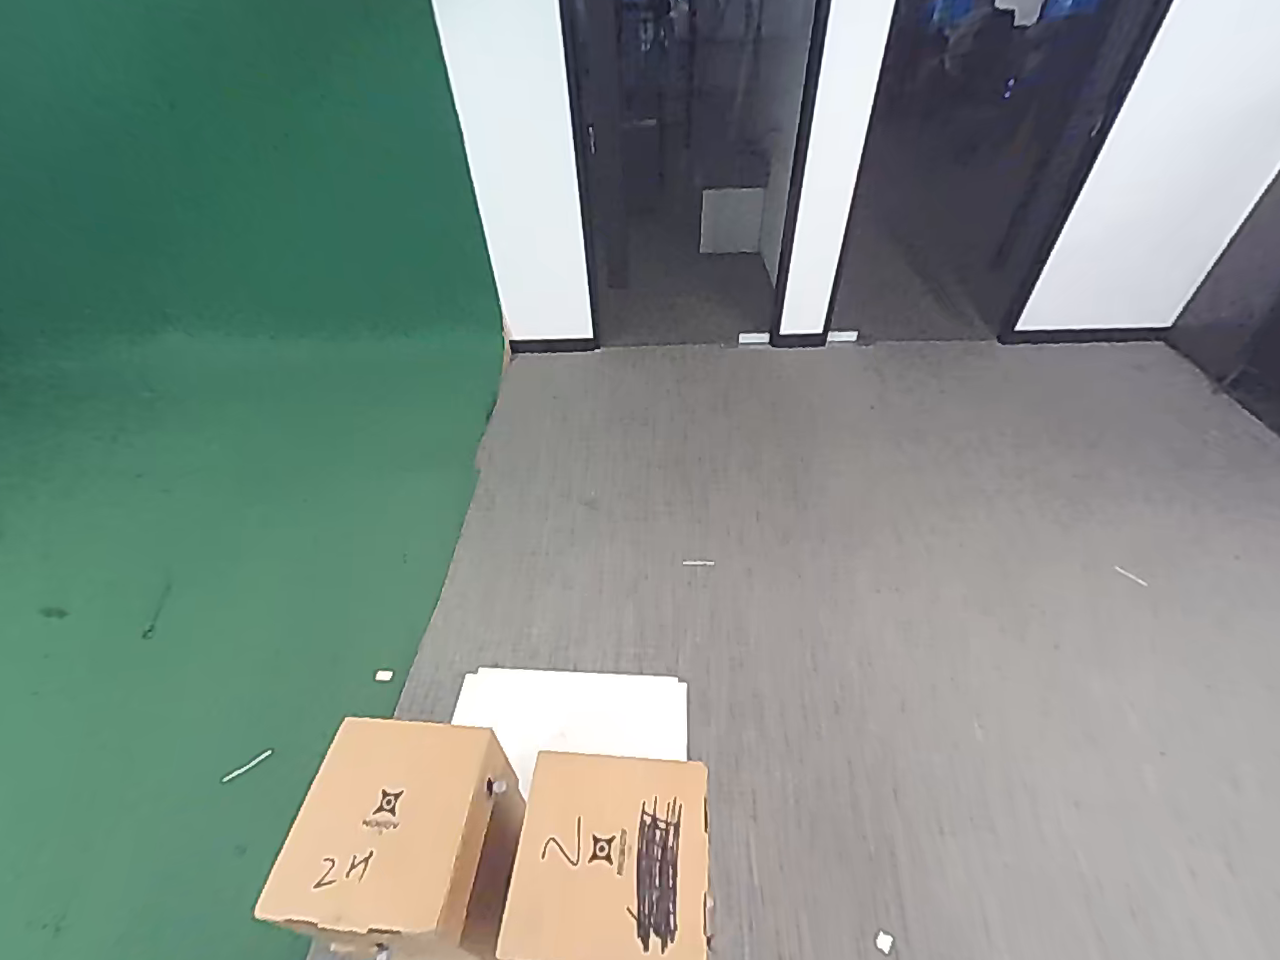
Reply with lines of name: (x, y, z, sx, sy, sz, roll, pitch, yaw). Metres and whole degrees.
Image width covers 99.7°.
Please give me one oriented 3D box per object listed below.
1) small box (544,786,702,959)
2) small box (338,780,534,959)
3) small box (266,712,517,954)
small box: (-0.009, 0.508, 0.670, 0.168, 0.176, 0.179, 1, 44, 6)
small box: (-0.240, 0.499, 0.692, 0.168, 0.176, 0.179, 2, 45, 4)
small box: (-0.240, 0.377, 0.581, 0.168, 0.176, 0.179, 2, 44, 4)
